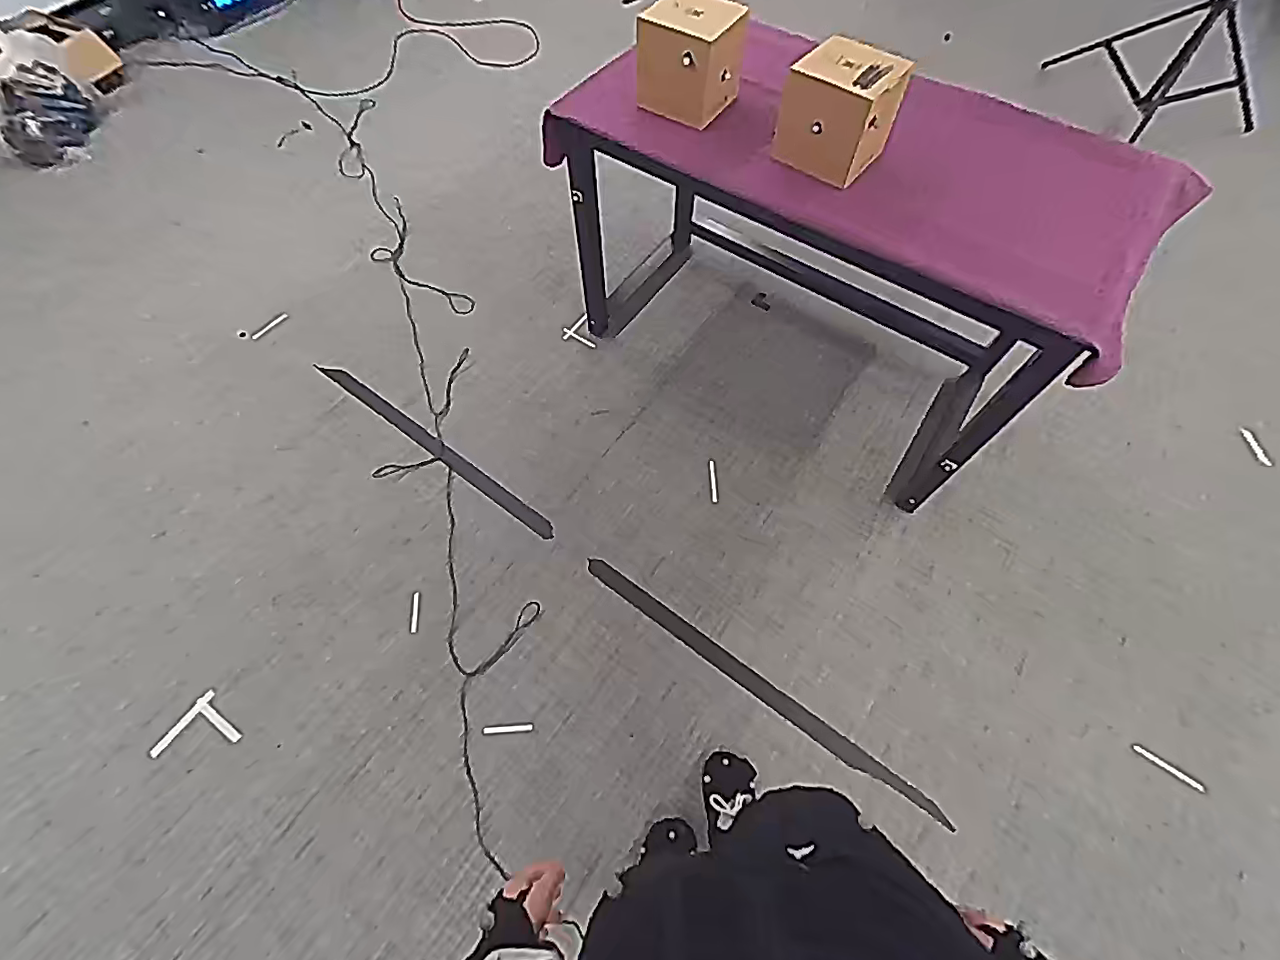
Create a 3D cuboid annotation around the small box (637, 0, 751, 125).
[{"bbox_3d":[0.109,-0.899,1.156,0.179,0.176,0.168,30,65,15],"label":"small box"}]
